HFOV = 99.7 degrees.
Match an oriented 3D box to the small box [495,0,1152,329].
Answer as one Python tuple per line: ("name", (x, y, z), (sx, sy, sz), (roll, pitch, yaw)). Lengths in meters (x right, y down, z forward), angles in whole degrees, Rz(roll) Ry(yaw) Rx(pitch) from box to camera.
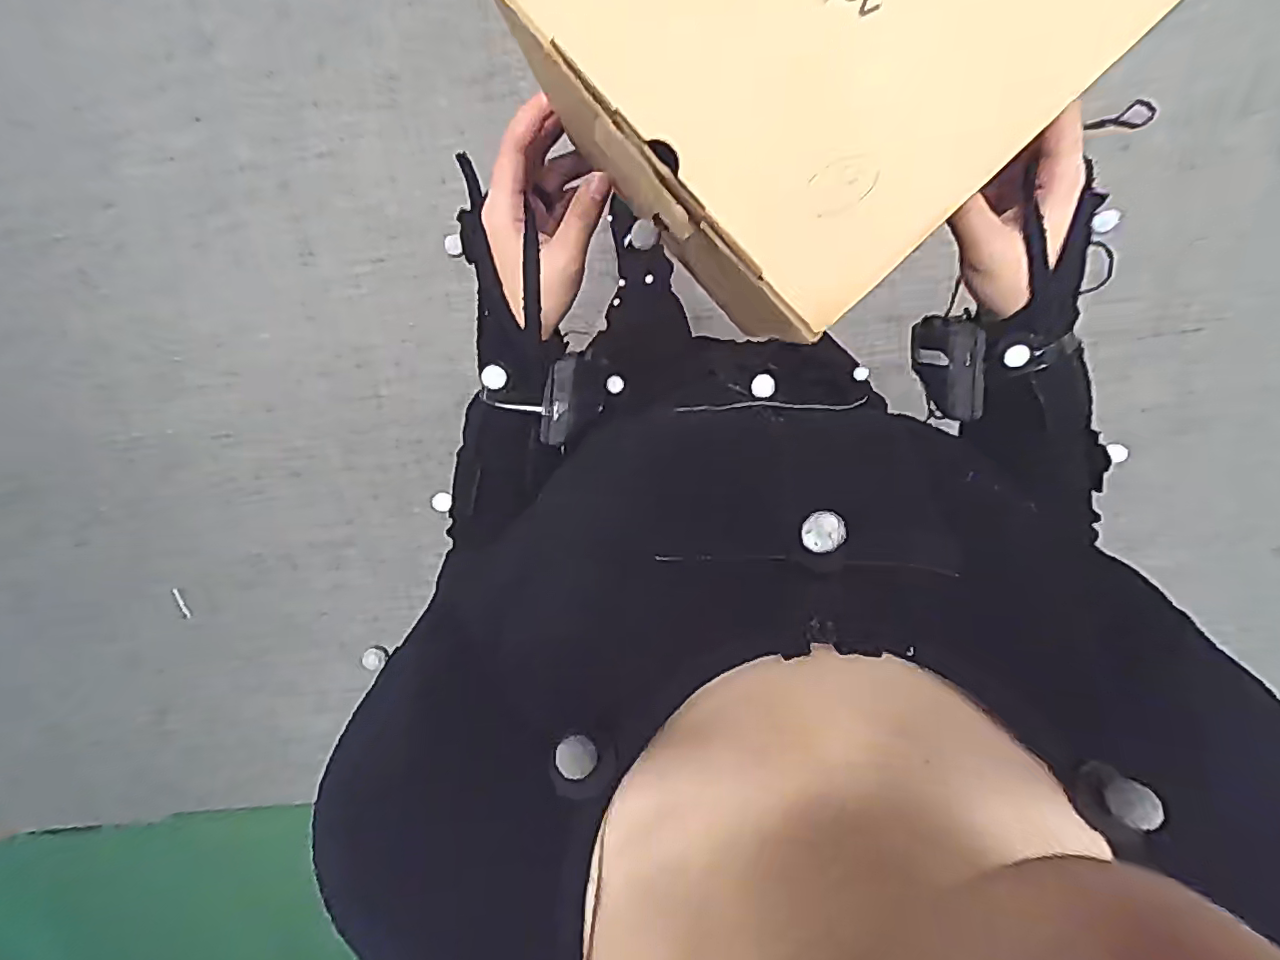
("small box", (0.070, -0.190, 0.256), (0.168, 0.176, 0.179), (44, 104, -8))
